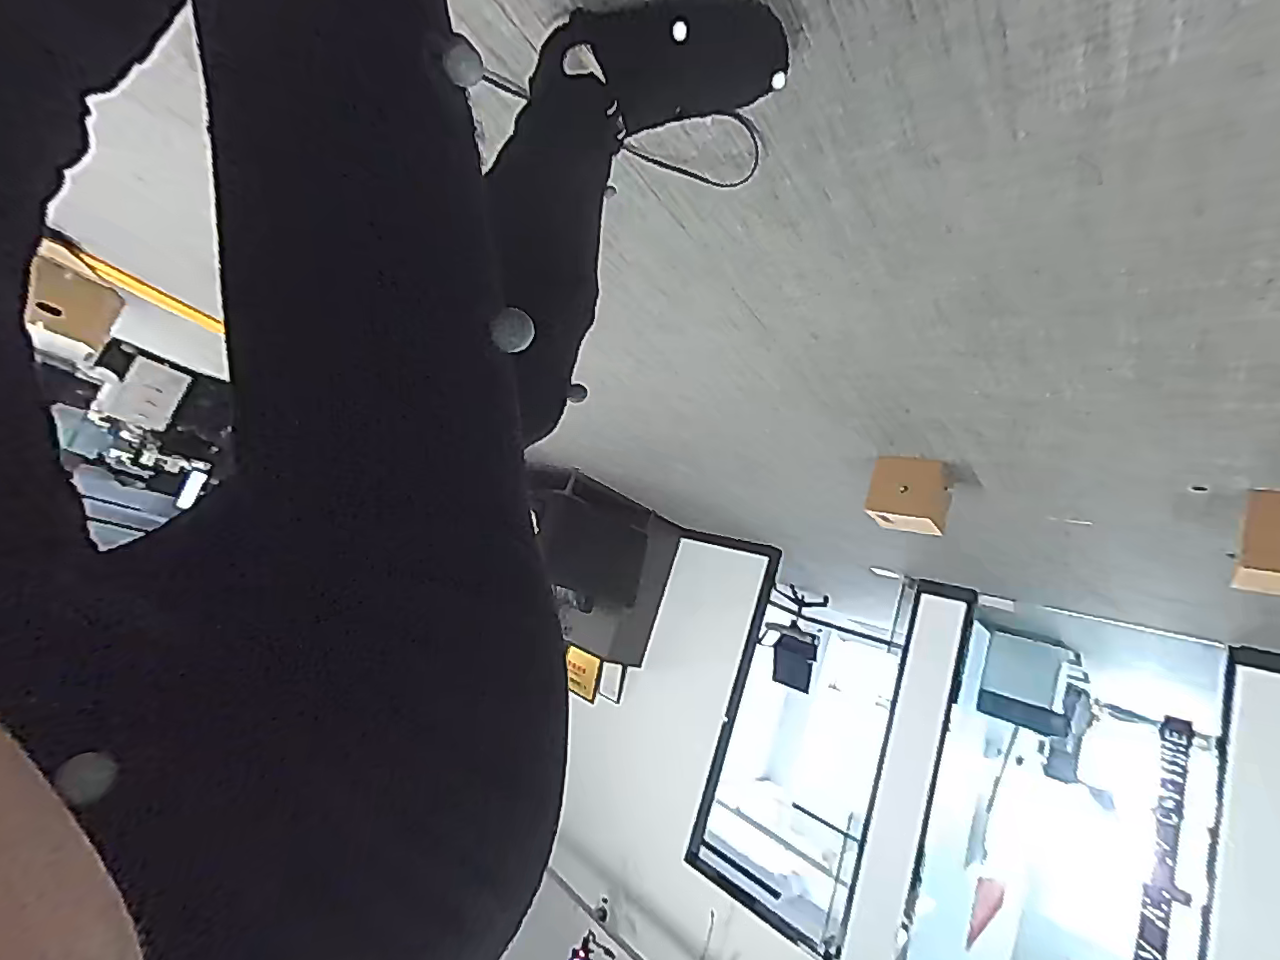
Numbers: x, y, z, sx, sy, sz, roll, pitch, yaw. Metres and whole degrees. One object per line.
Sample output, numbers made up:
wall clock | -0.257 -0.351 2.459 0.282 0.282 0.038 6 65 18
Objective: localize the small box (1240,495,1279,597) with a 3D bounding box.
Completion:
small box | 1.315 0.138 1.058 0.168 0.176 0.179 8 165 45

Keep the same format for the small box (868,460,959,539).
small box | 0.775 0.051 1.527 0.179 0.176 0.168 7 164 44
